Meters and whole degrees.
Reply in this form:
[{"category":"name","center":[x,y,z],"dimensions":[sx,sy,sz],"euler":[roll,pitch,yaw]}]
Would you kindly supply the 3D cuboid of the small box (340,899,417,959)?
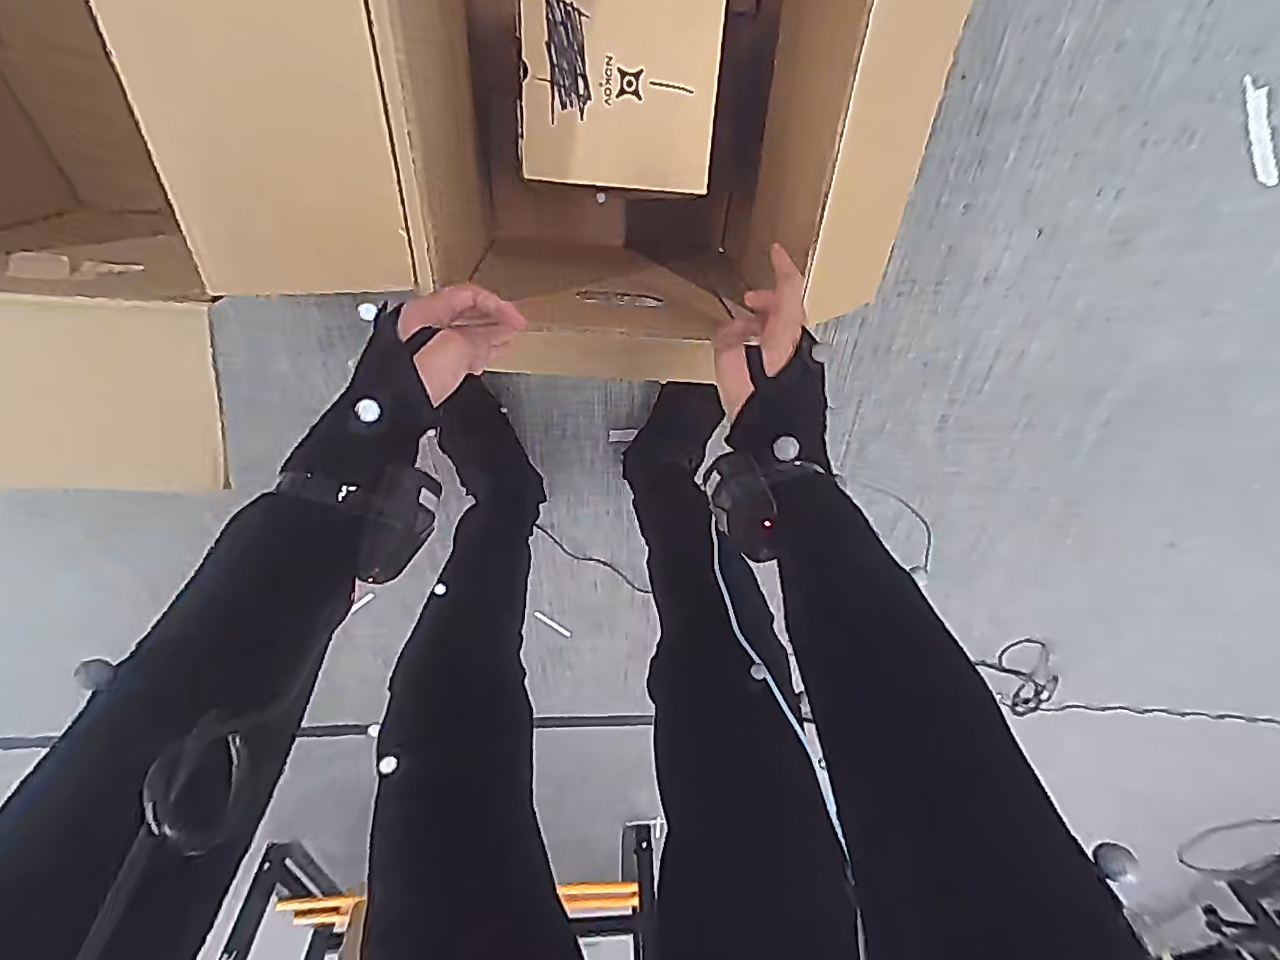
[{"category":"small box","center":[-0.816,1.436,1.690],"dimensions":[0.168,0.176,0.179],"euler":[1,127,-5]}]
